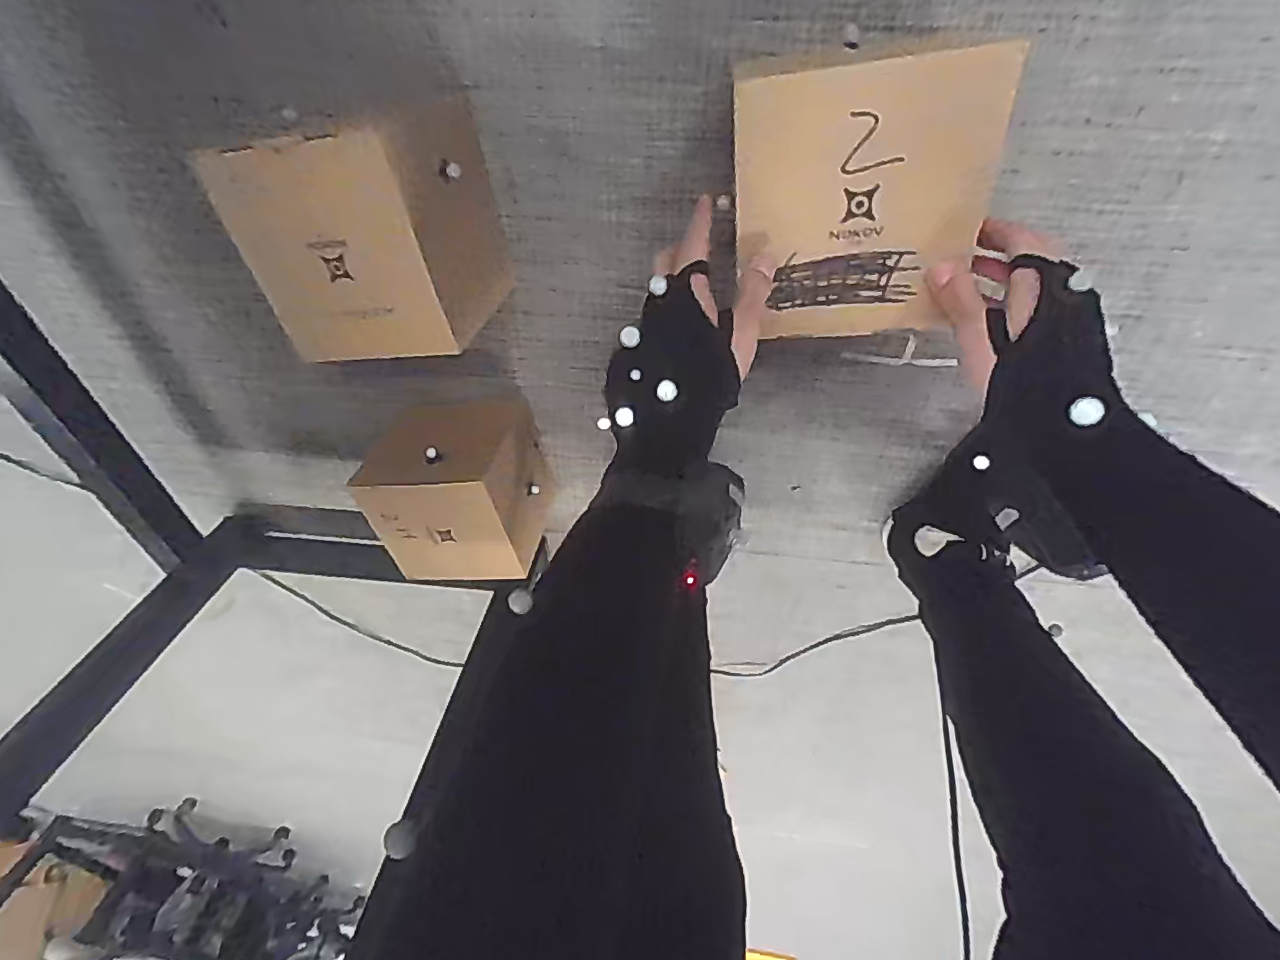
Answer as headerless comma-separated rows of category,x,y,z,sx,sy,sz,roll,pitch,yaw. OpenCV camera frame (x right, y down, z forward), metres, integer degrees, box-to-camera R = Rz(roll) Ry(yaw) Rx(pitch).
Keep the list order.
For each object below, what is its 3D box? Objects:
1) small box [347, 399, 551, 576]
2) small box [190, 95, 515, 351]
small box,-0.226,0.006,0.701,0.179,0.176,0.168,-2,129,11
small box,-0.234,-0.238,0.498,0.168,0.176,0.179,0,131,11
